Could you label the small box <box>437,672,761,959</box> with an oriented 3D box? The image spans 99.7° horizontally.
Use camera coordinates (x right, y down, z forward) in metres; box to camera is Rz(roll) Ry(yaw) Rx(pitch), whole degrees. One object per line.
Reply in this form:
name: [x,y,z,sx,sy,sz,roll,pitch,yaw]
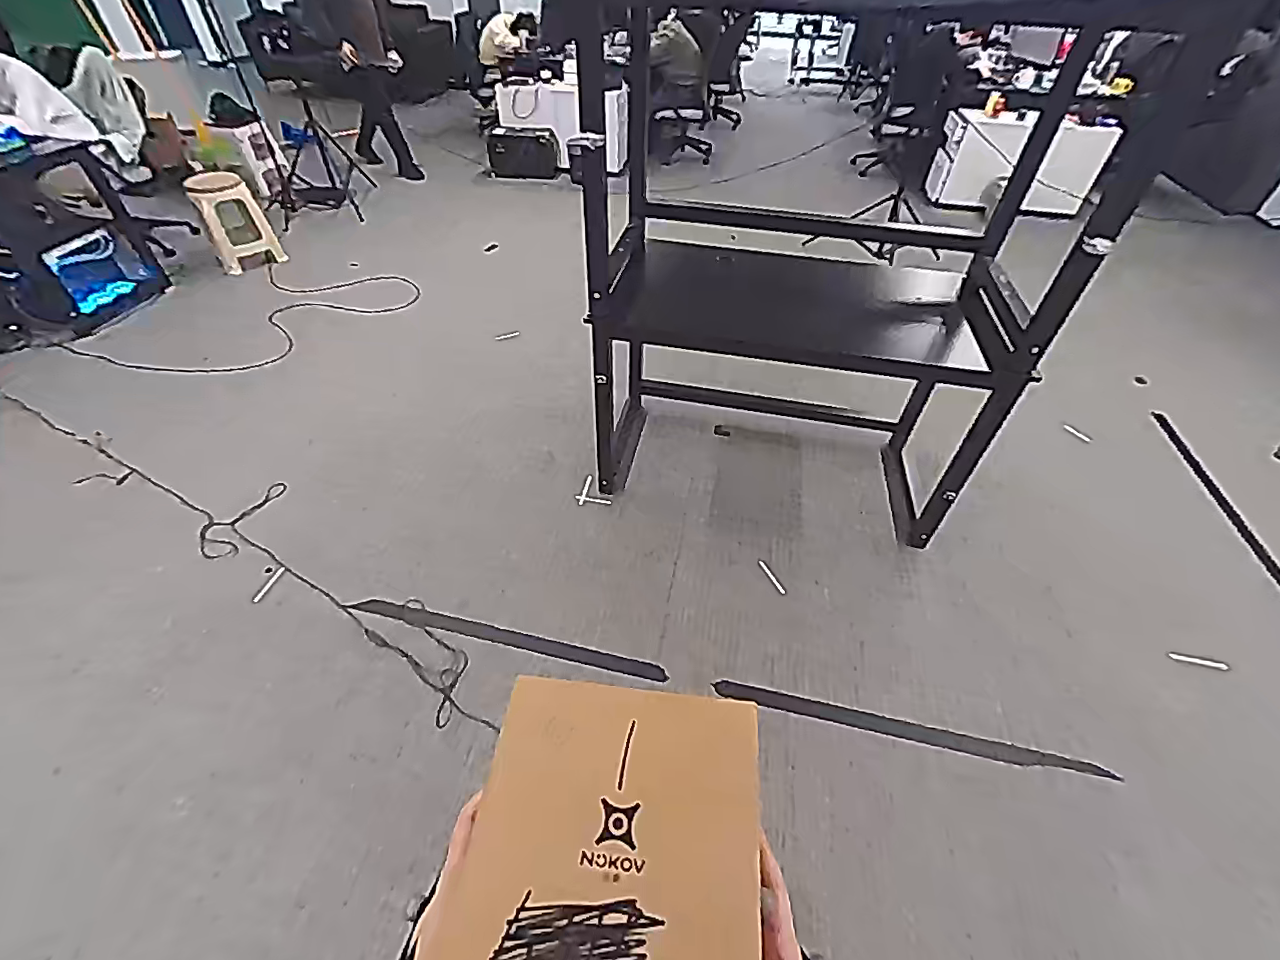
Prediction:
small box: [-0.012,0.256,0.365,0.168,0.176,0.179,5,48,5]
